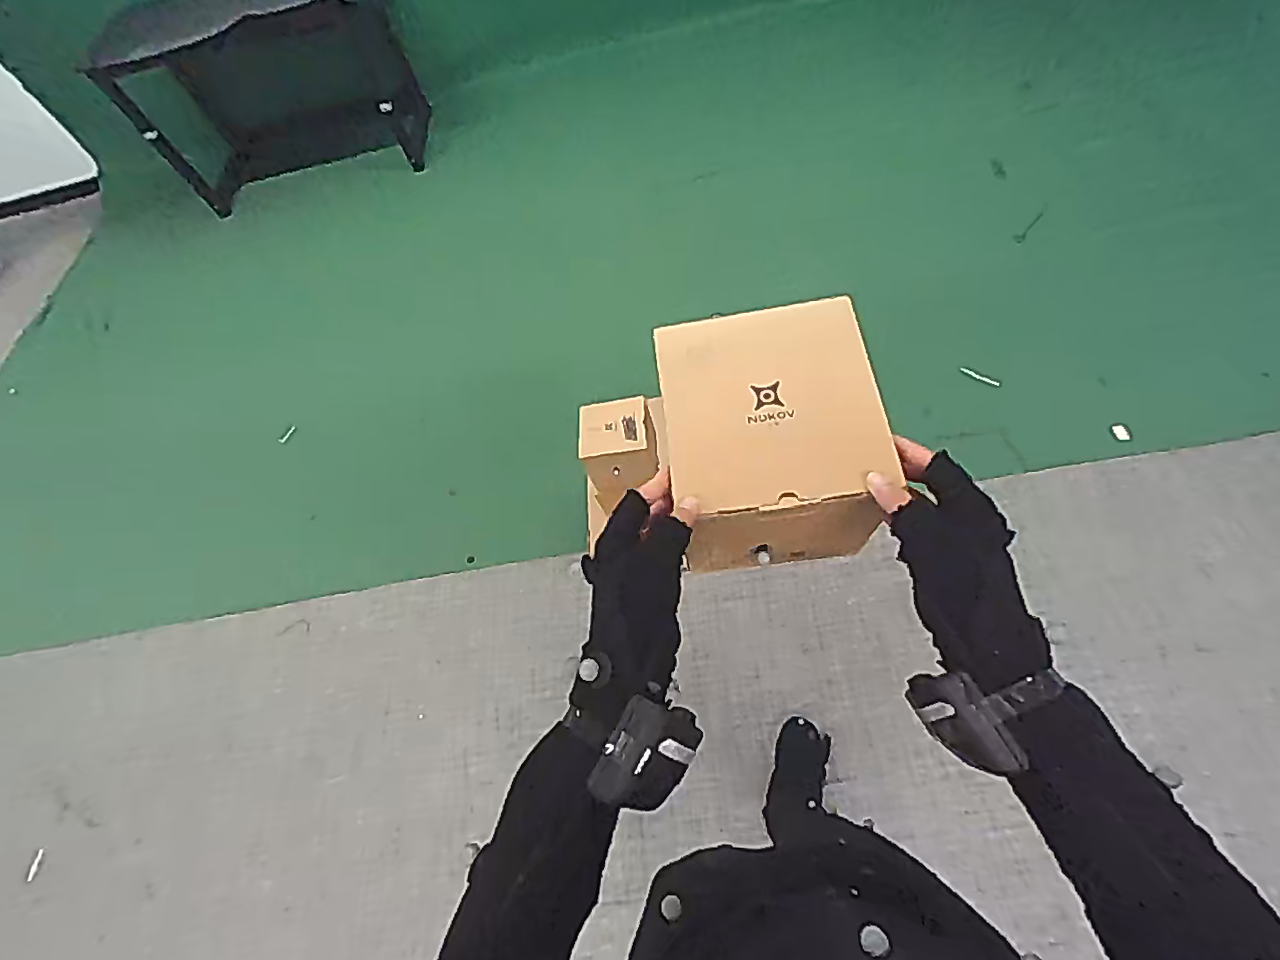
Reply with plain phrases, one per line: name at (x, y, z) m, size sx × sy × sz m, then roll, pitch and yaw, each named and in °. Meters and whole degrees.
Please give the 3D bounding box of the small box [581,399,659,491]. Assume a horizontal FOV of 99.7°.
small box at (-0.046, -0.087, 1.427) m, size 0.179 × 0.176 × 0.168 m, roll -8°, pitch 59°, yaw 10°
